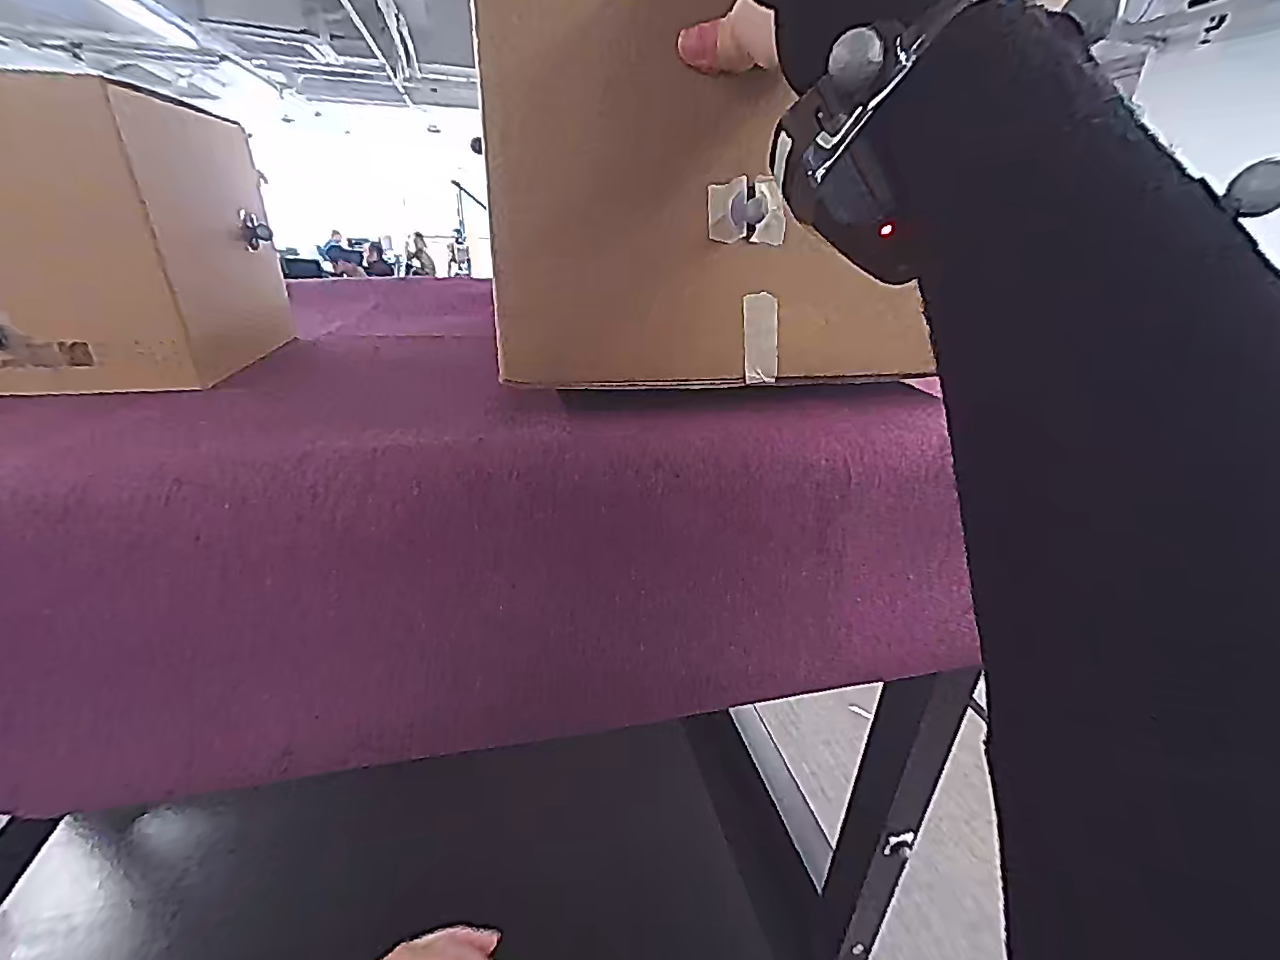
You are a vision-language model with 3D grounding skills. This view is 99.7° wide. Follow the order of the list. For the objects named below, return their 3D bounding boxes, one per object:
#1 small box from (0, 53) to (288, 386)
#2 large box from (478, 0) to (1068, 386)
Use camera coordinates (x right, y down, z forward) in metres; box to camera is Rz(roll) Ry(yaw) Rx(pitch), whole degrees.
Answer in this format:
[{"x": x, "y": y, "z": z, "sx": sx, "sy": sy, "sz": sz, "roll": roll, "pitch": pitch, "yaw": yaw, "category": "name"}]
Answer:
[{"x": -0.367, "y": -0.167, "z": 0.365, "sx": 0.168, "sy": 0.176, "sz": 0.179, "roll": -4, "pitch": 27, "yaw": -12, "category": "small box"}, {"x": 0.037, "y": -0.274, "z": 0.444, "sx": 0.320, "sy": 0.320, "sz": 0.408, "roll": -3, "pitch": 23, "yaw": -12, "category": "large box"}]
